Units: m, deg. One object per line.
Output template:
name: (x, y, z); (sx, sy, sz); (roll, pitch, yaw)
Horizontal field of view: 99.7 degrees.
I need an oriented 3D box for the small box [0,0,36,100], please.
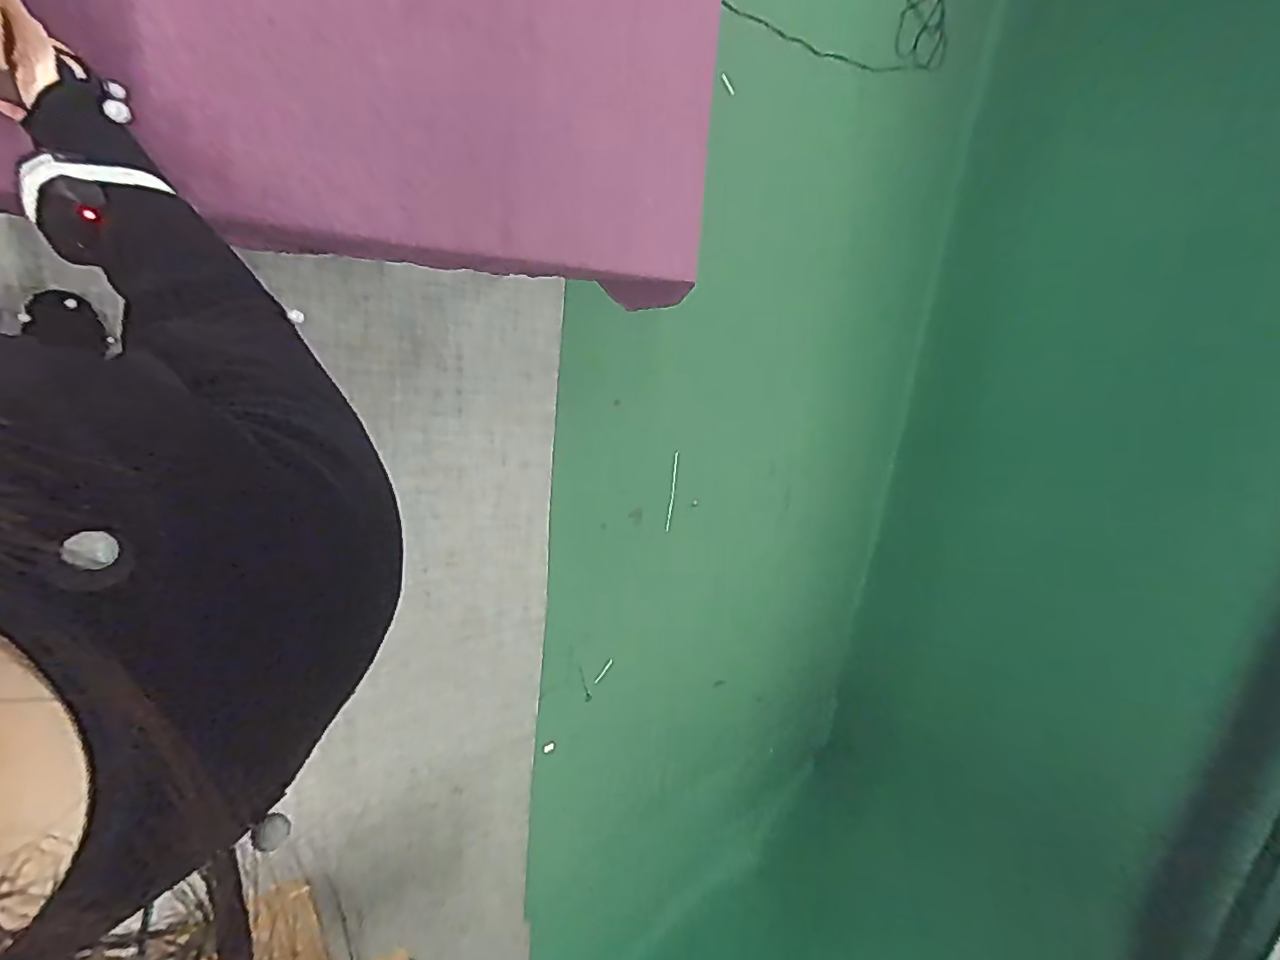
small box: (-0.536, -0.368, 0.334); (0.168, 0.176, 0.179); (-10, 111, -31)
